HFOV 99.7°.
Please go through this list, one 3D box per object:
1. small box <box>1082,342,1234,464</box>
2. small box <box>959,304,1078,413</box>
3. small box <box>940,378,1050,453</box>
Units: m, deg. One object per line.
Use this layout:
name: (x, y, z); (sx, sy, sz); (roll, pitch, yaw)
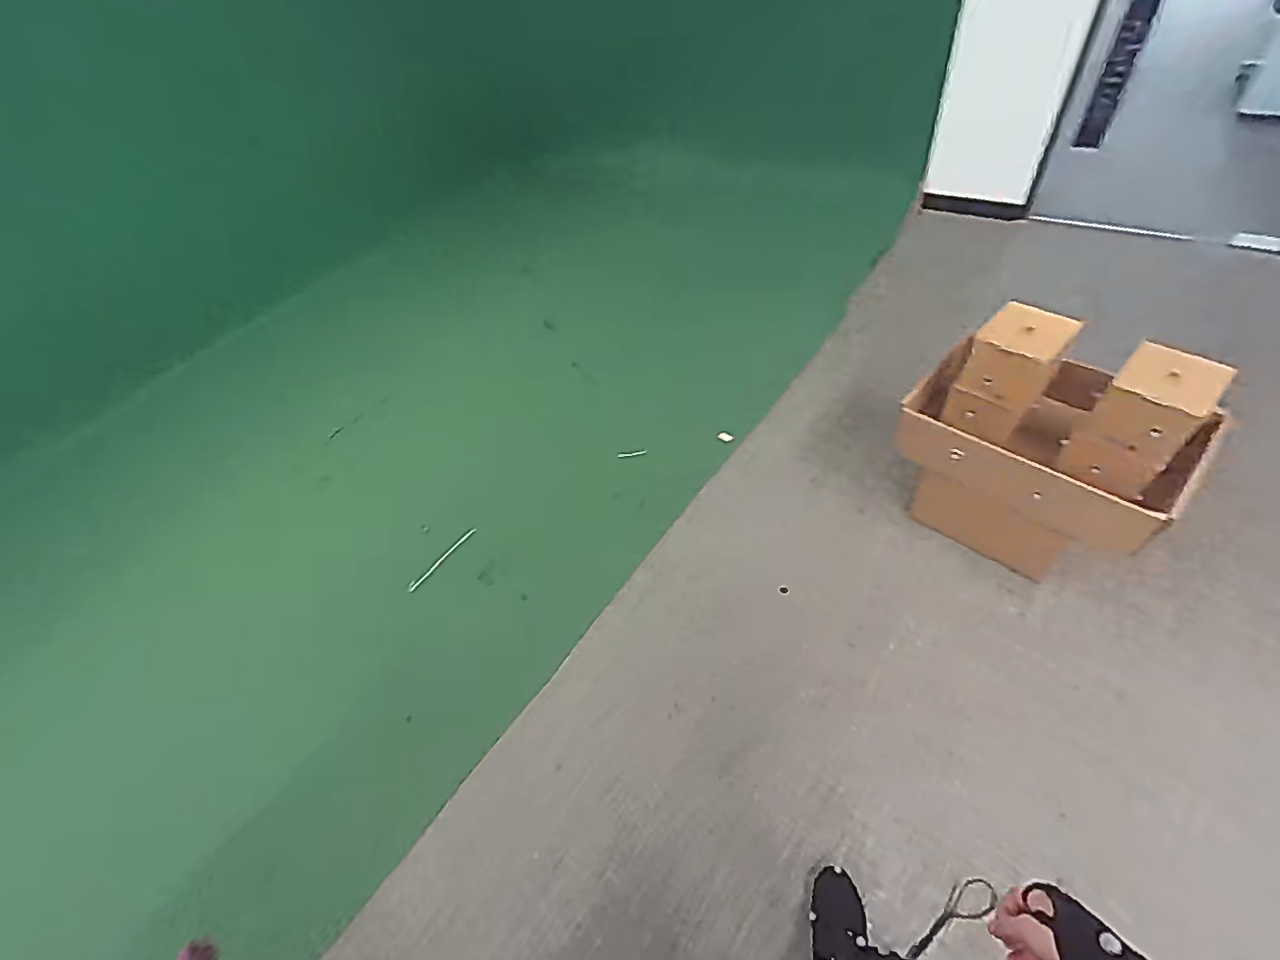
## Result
small box: (1.129, -0.166, 1.197); (0.179, 0.176, 0.168); (-40, 55, -20)
small box: (0.937, -0.304, 1.356); (0.179, 0.176, 0.168); (-41, 55, -18)
small box: (0.962, -0.203, 1.483); (0.168, 0.176, 0.179); (-40, 55, -17)
